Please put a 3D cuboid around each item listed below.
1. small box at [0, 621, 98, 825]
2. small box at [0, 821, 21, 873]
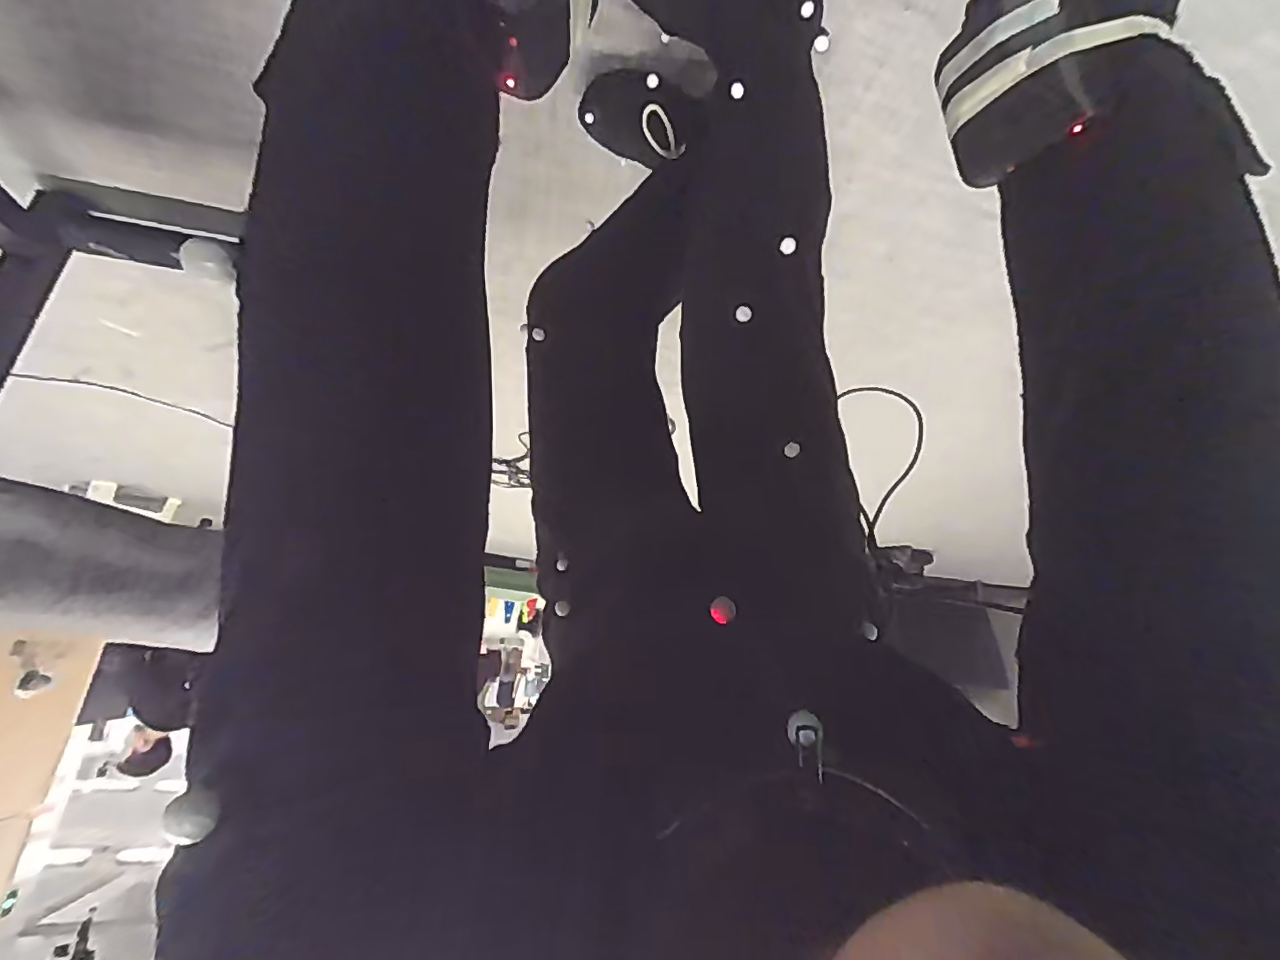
[{"bbox_3d":[-0.636,0.204,0.455,0.179,0.176,0.168,6,159,-9],"label":"small box"},{"bbox_3d":[-0.642,0.353,0.392,0.179,0.176,0.168,6,160,-10],"label":"small box"}]
